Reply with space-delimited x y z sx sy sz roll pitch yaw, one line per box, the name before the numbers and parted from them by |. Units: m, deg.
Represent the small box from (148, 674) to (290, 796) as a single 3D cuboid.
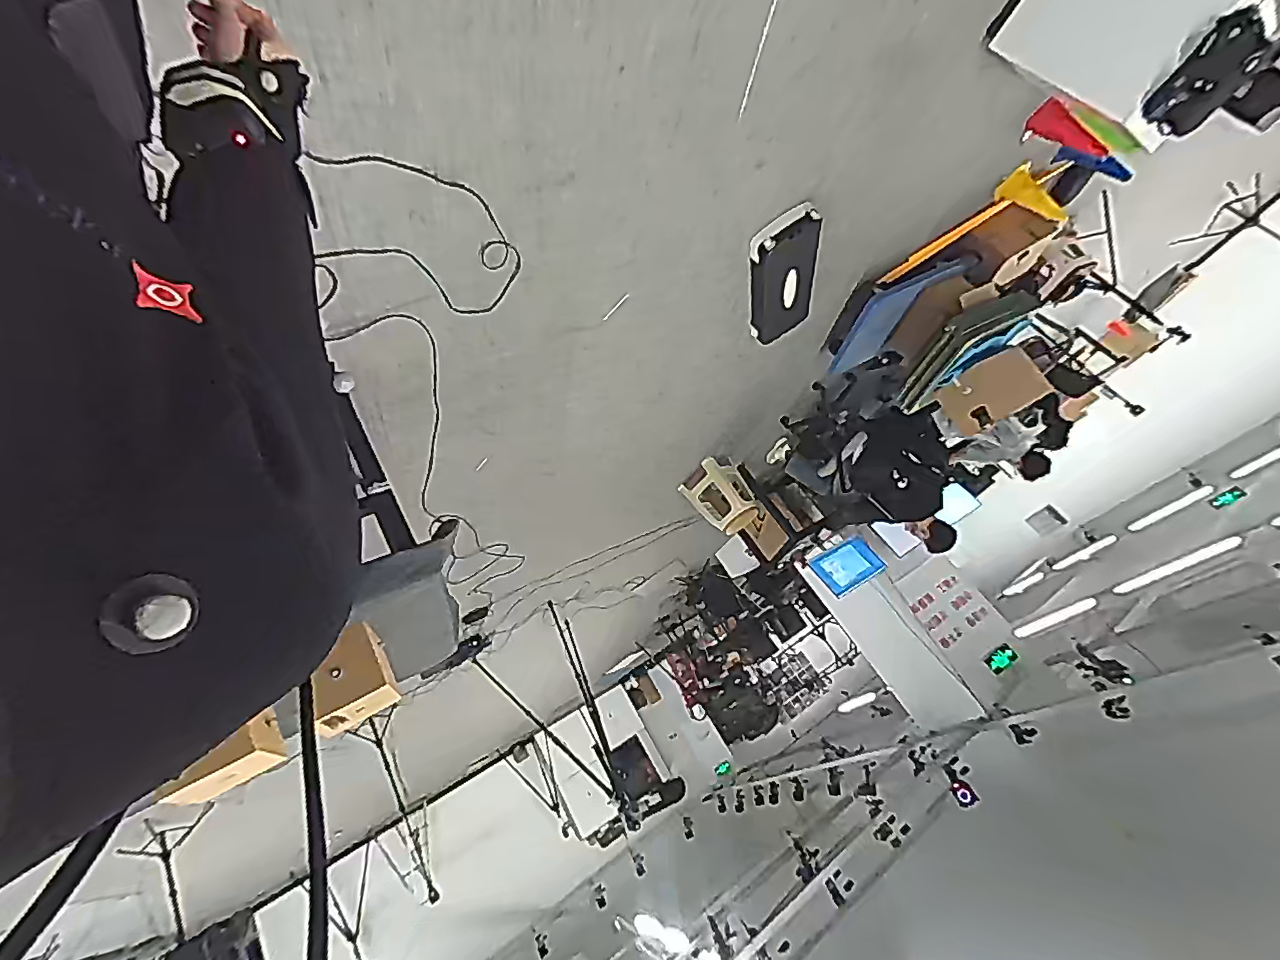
small box | -0.897 0.543 1.158 0.179 0.176 0.168 -24 156 -23
